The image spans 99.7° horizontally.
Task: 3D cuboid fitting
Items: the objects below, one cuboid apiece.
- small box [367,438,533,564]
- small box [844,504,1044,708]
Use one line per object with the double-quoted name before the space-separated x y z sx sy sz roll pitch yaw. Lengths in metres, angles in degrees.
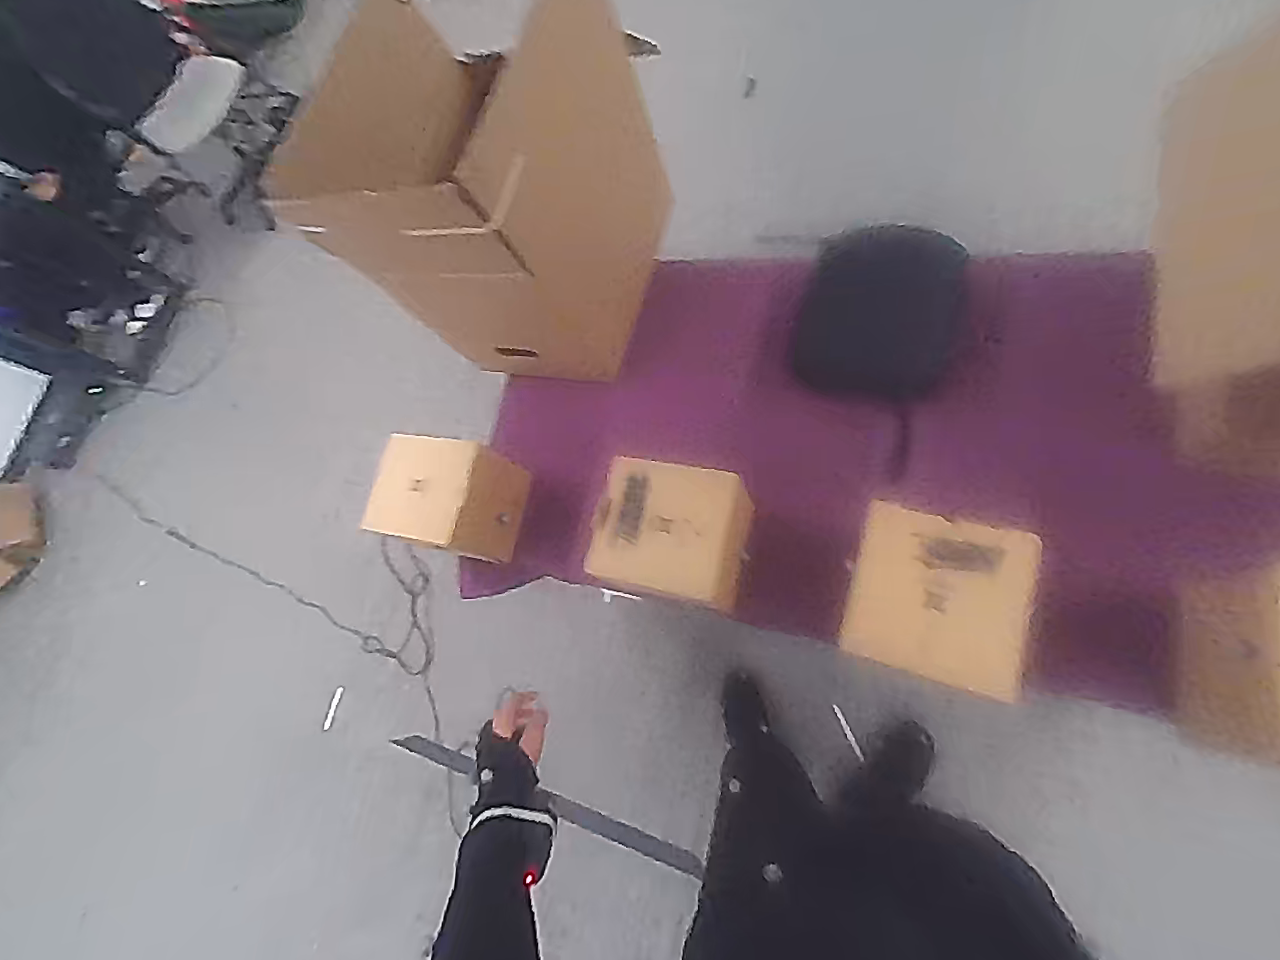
"small box" -0.311 0.040 0.915 0.179 0.176 0.168 6 75 20
"small box" 0.345 0.148 0.644 0.168 0.176 0.179 13 78 24
